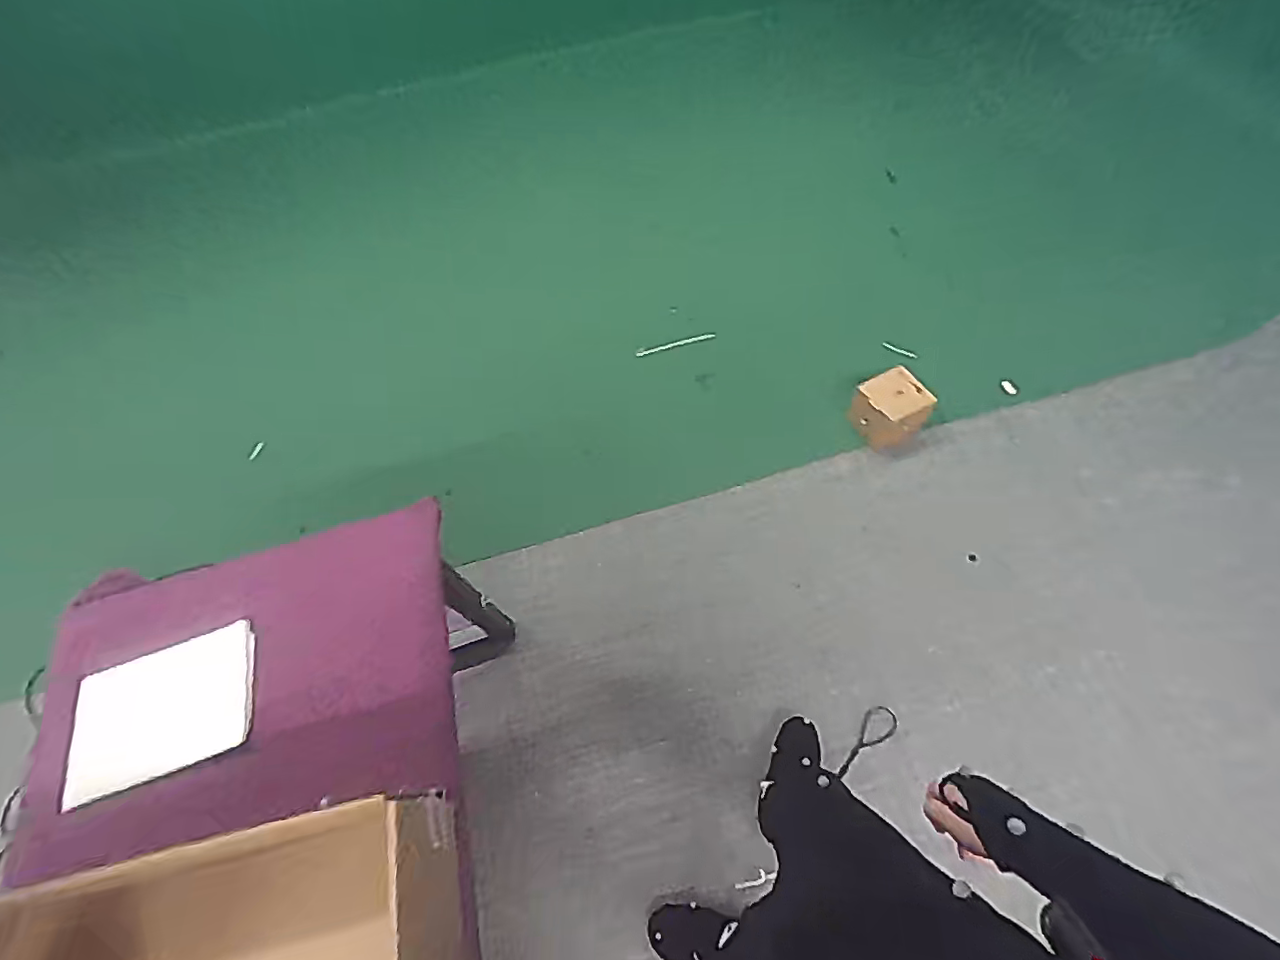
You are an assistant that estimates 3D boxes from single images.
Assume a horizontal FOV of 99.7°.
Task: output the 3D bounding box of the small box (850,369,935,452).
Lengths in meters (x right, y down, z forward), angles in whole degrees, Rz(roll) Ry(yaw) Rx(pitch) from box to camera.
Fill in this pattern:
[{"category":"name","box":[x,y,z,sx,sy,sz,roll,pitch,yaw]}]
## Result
[{"category":"small box","box":[0.810,-0.220,1.760,0.179,0.176,0.168,-26,61,-8]}]
